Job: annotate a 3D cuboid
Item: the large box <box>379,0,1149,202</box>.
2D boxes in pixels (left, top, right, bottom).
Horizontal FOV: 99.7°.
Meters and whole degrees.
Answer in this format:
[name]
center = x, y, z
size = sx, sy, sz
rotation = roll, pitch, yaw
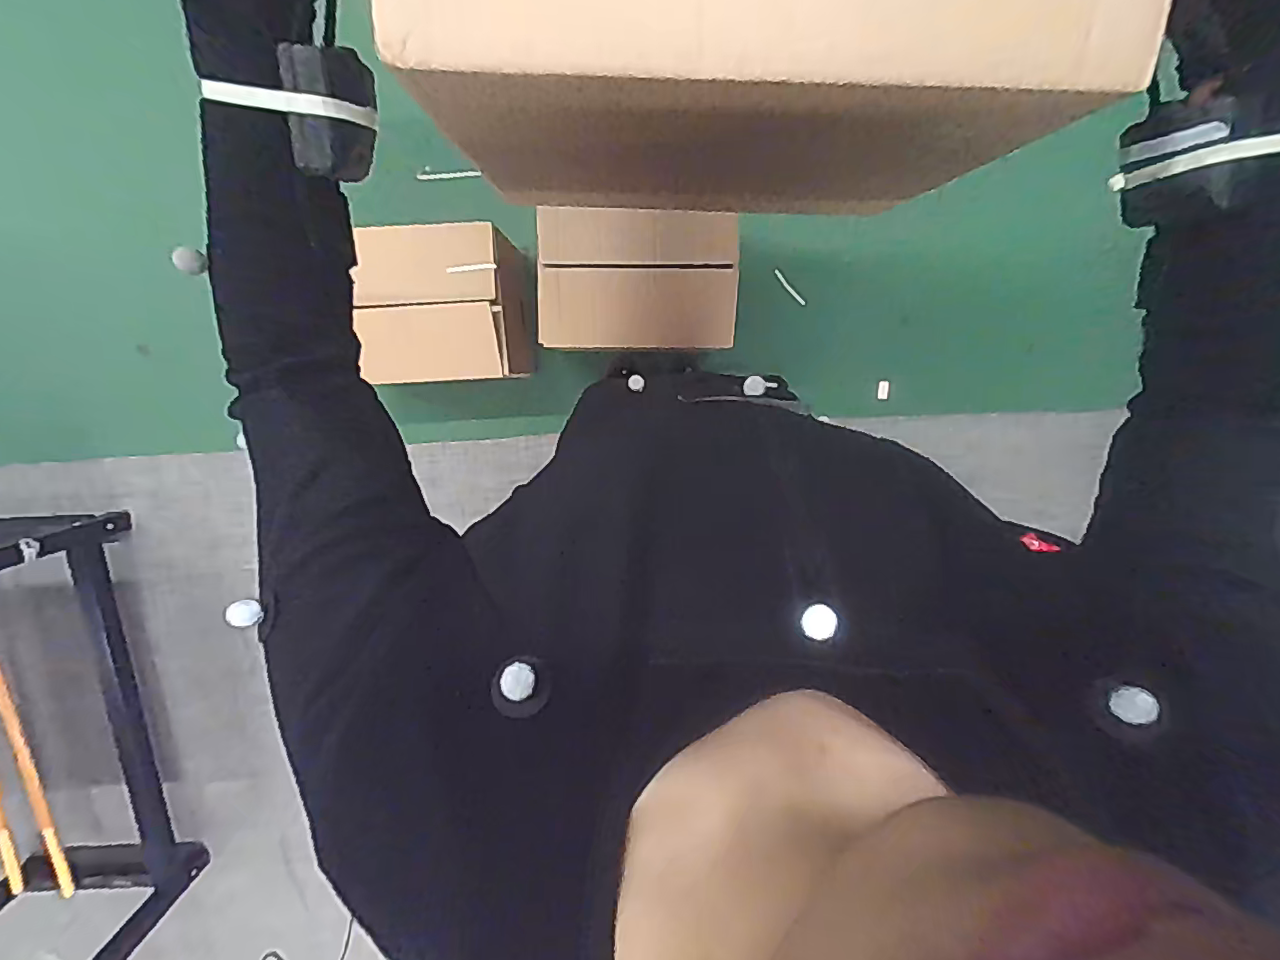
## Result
[large box]
center = 0.059, -0.402, 0.384
size = 0.408, 0.320, 0.320
rotation = 0, 106, -3
